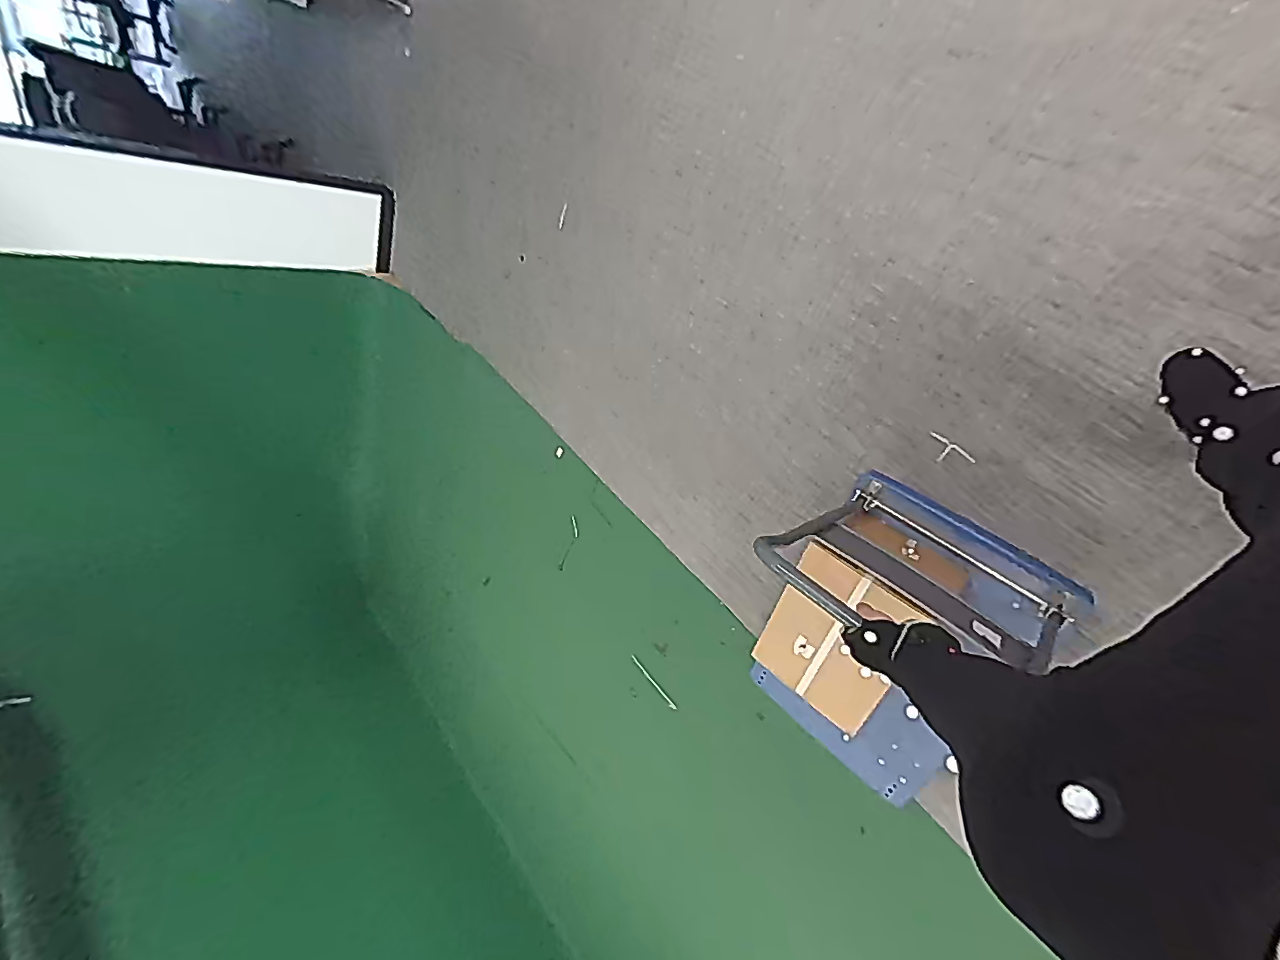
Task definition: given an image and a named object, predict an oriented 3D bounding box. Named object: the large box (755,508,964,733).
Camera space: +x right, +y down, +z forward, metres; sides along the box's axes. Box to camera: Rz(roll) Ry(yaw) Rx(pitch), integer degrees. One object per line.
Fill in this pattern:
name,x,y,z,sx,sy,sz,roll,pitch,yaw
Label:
large box,0.564,0.345,1.408,0.320,0.320,0.408,36,124,31
